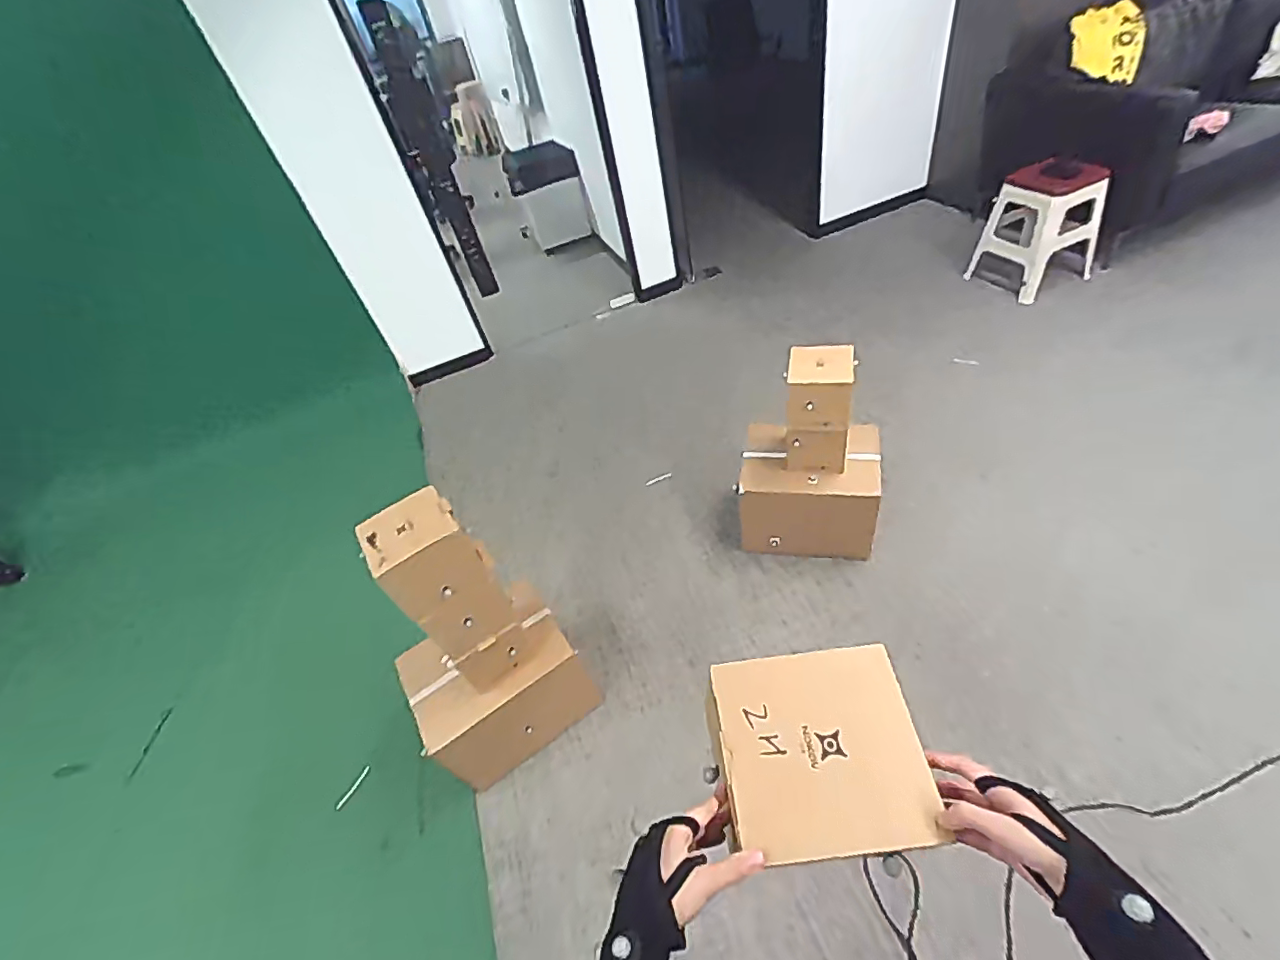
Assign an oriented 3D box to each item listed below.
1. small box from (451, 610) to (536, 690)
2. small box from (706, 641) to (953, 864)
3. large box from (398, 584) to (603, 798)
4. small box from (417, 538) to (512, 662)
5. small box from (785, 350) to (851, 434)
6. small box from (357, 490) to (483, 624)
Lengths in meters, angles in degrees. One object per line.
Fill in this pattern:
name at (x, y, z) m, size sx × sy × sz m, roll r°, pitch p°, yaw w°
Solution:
small box at (-0.379, 0.392, 1.338) m, size 0.168 × 0.176 × 0.179 m, roll -31°, pitch 46°, yaw -17°
small box at (0.166, 0.277, 0.543) m, size 0.179 × 0.176 × 0.168 m, roll -7°, pitch 53°, yaw 1°
large box at (-0.374, 0.577, 1.501) m, size 0.408 × 0.320 × 0.320 m, roll -33°, pitch 45°, yaw -16°
small box at (-0.409, 0.273, 1.228) m, size 0.179 × 0.176 × 0.168 m, roll -33°, pitch 46°, yaw -17°
small box at (0.495, -0.240, 1.500) m, size 0.168 × 0.176 × 0.179 m, roll 2°, pitch 44°, yaw 18°
small box at (-0.444, 0.158, 1.116) m, size 0.179 × 0.176 × 0.168 m, roll -31°, pitch 45°, yaw -18°
